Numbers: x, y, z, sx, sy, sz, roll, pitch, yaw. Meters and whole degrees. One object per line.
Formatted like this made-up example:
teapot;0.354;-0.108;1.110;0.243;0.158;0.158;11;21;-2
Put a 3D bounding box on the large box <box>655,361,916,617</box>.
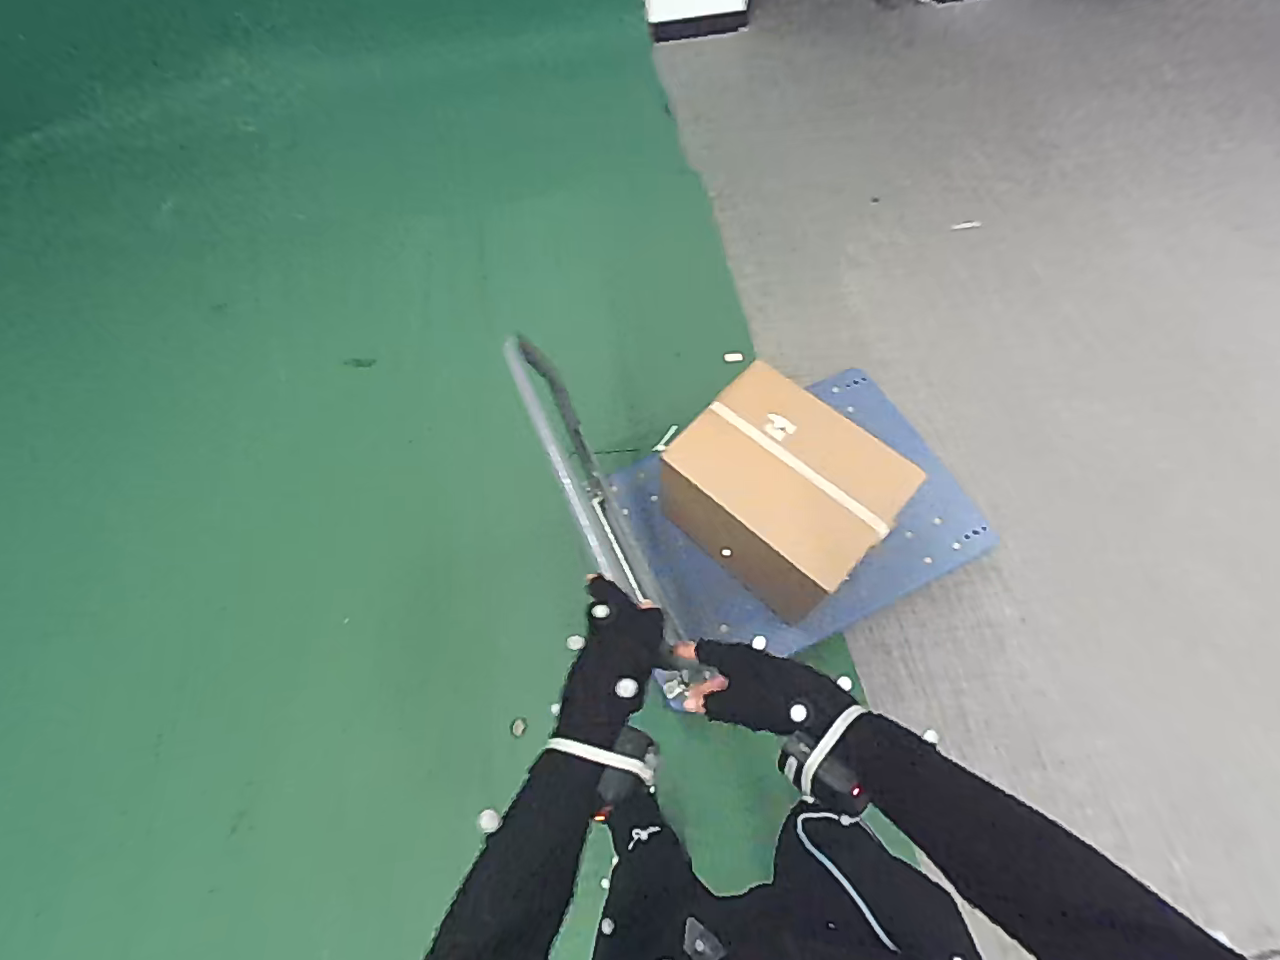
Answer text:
large box;0.286;0.030;1.173;0.408;0.320;0.320;41;73;20
